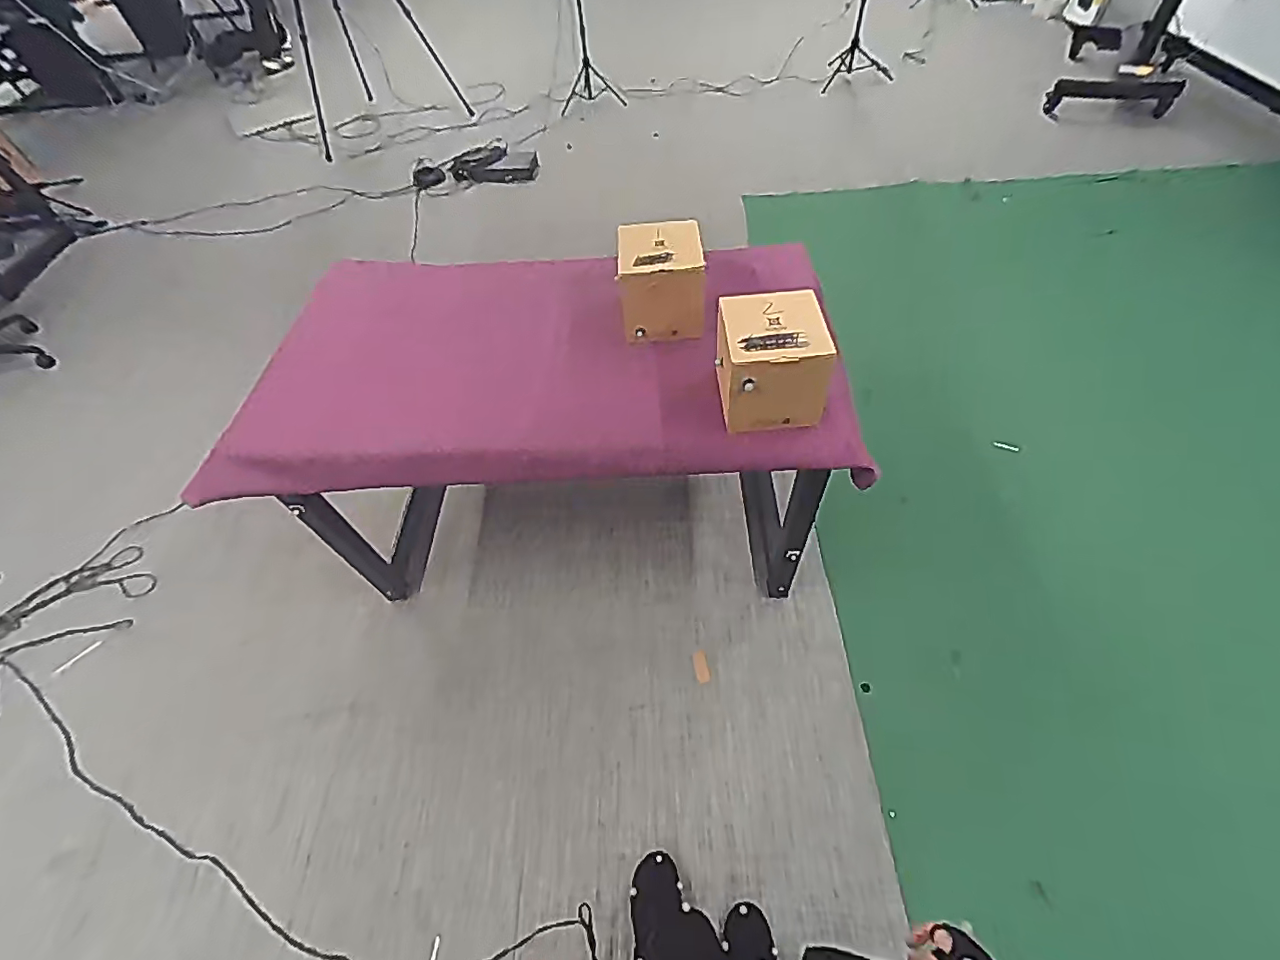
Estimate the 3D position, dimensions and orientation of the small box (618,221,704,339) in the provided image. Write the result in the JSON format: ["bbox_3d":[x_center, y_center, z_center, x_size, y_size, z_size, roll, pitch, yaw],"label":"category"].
[{"bbox_3d":[0.045,-0.409,1.126,0.168,0.176,0.179,-3,53,2],"label":"small box"}]
